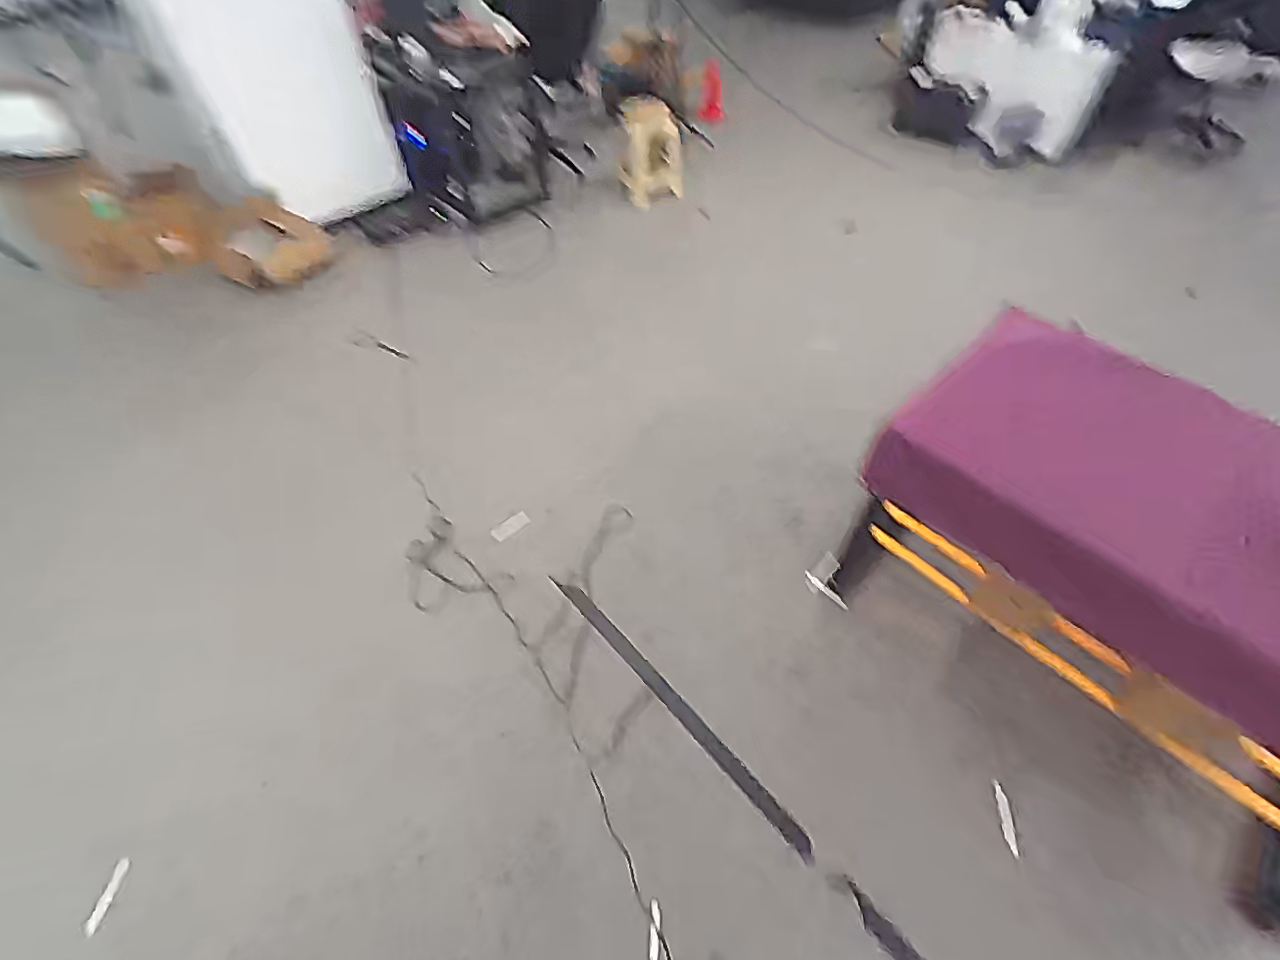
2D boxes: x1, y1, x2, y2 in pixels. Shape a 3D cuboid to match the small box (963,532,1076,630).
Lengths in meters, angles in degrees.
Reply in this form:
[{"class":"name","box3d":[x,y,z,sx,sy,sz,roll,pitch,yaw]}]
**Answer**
[{"class":"small box","box3d":[1.048,0.286,1.510,0.179,0.176,0.168,38,62,25]}]
